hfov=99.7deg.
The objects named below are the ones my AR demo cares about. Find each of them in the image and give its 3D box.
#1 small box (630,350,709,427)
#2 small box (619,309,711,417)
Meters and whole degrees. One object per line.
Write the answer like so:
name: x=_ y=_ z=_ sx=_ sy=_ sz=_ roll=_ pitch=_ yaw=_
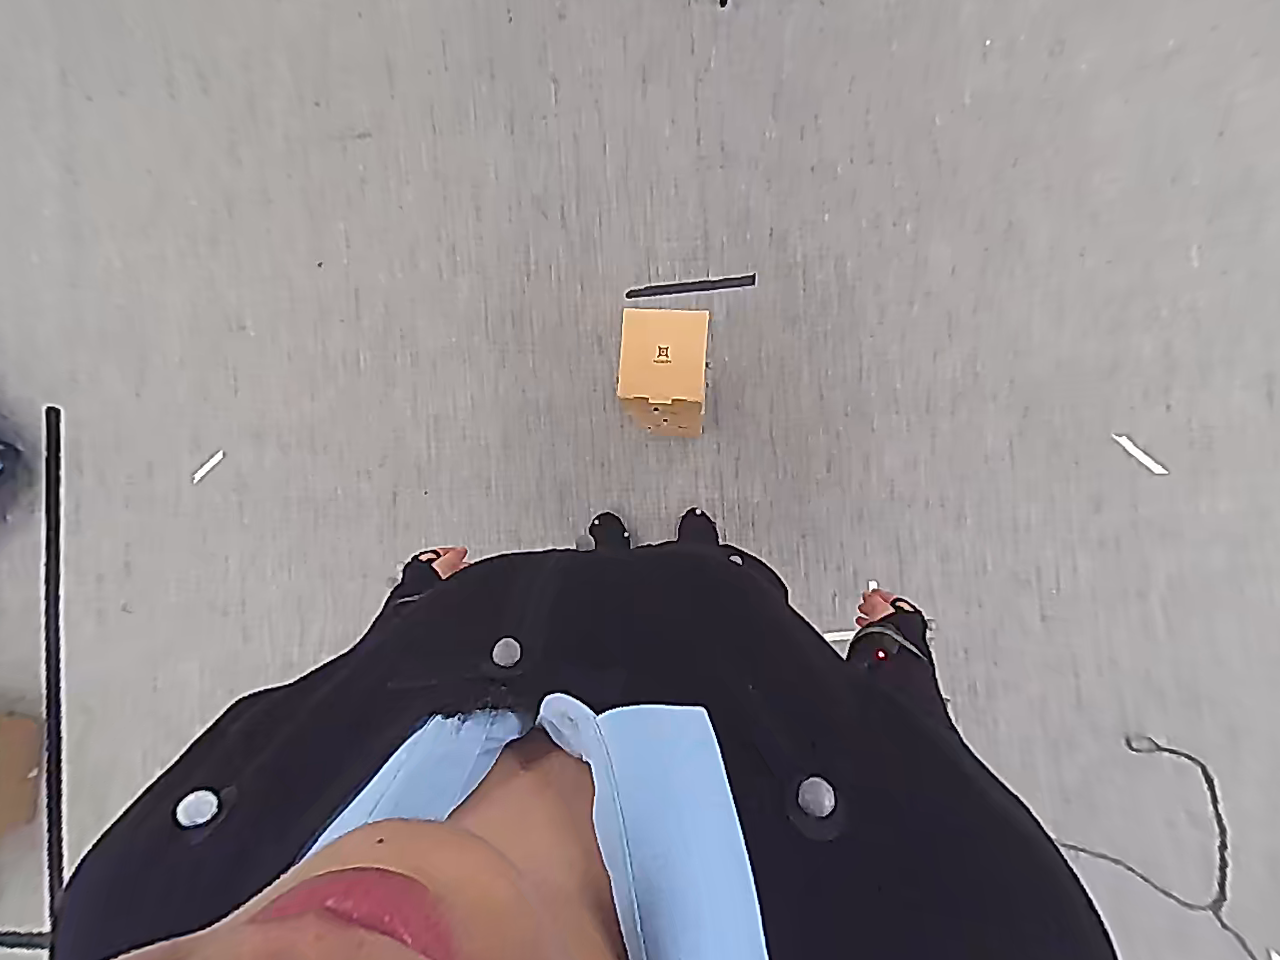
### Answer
small box: x=0.072 y=-0.223 z=1.265 sx=0.168 sy=0.176 sz=0.179 roll=4 pitch=87 yaw=5
small box: x=0.053 y=-0.233 z=1.104 sx=0.168 sy=0.176 sz=0.179 roll=3 pitch=88 yaw=5
